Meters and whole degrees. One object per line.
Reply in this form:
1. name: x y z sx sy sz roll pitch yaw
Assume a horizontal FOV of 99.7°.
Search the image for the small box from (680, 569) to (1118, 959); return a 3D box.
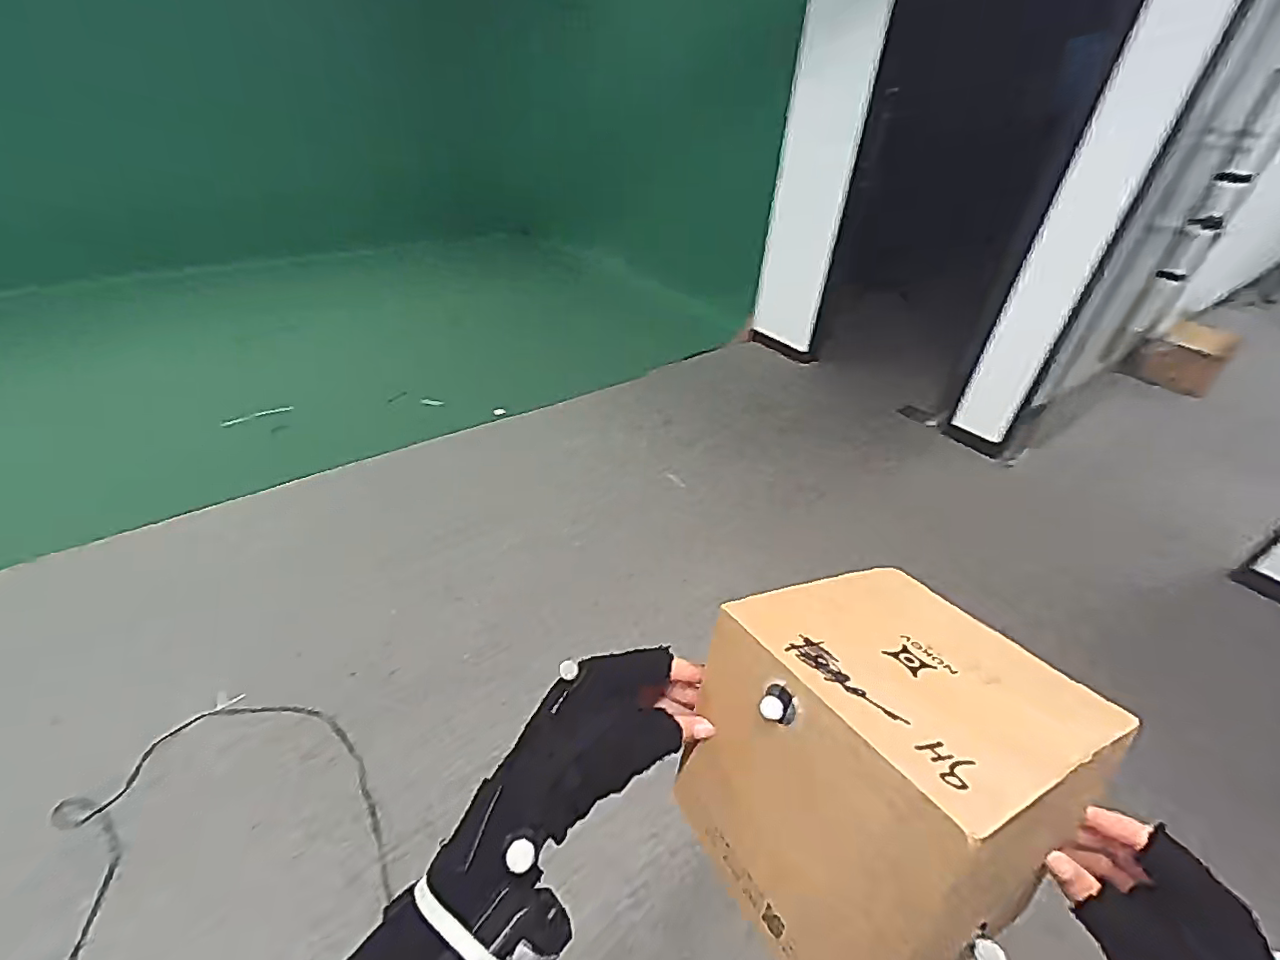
1. small box: 0.149 0.181 0.355 0.179 0.176 0.168 -3 23 -32
